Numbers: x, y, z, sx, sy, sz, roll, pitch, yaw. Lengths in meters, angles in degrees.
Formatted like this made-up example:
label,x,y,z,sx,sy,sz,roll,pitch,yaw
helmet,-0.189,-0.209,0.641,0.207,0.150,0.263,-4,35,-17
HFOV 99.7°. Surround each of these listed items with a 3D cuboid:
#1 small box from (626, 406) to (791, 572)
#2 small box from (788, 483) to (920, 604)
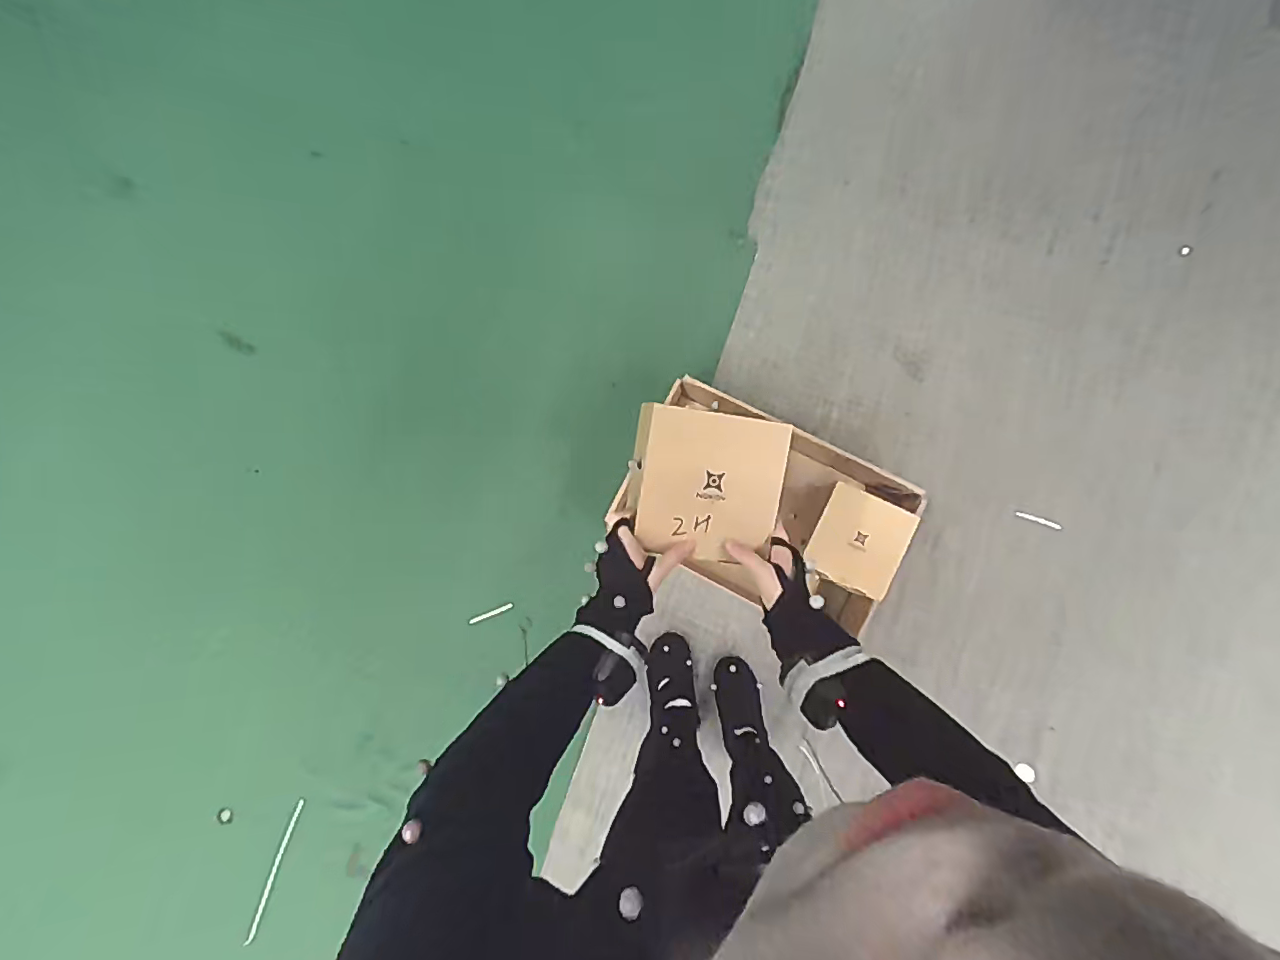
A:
label,x,y,z,sx,sy,sz,roll,pitch,yaw
small box,0.074,0.002,0.695,0.168,0.176,0.179,8,98,-5
small box,0.413,0.122,1.077,0.168,0.176,0.179,26,88,6
